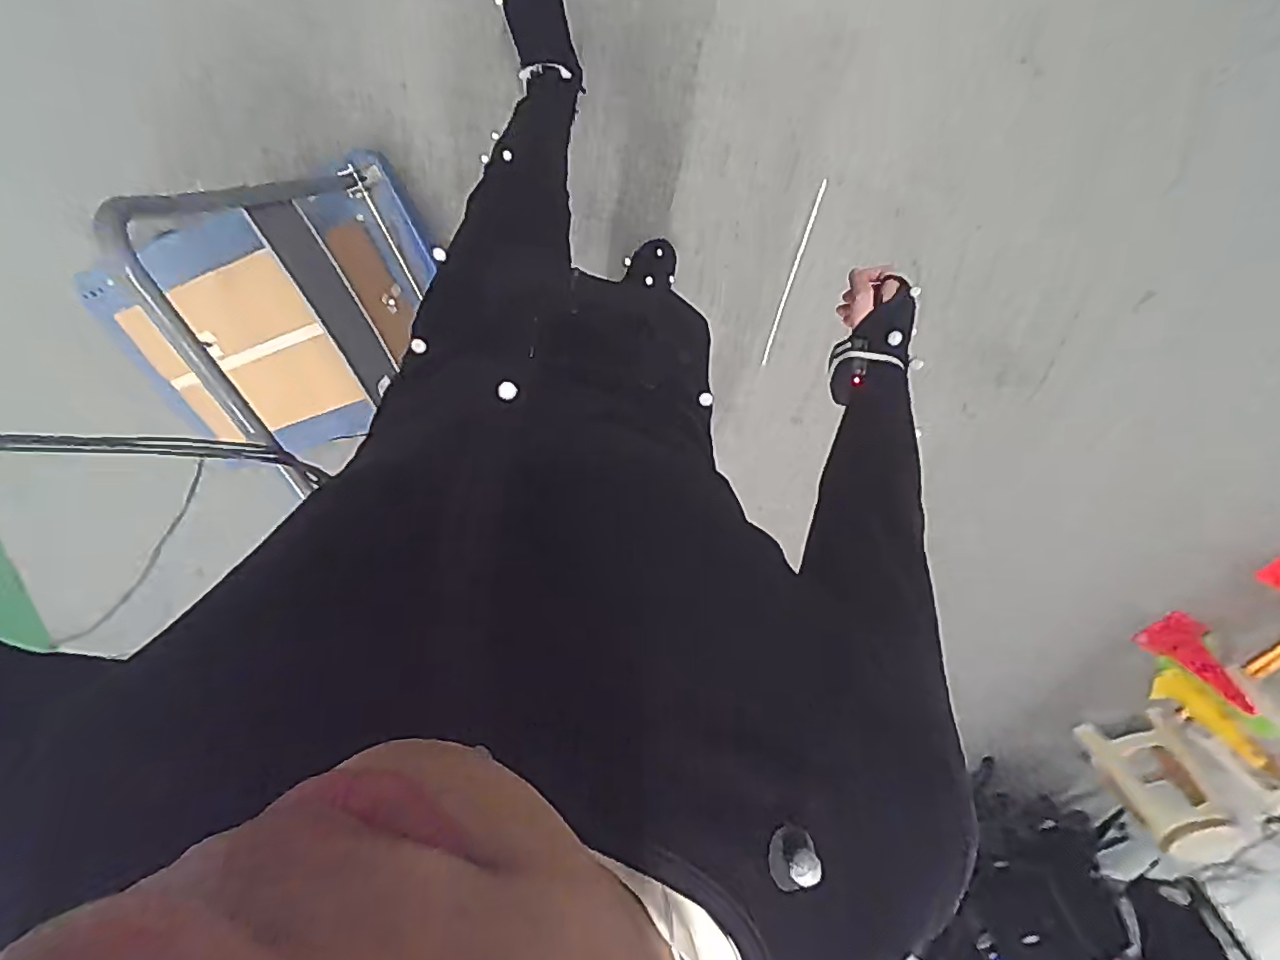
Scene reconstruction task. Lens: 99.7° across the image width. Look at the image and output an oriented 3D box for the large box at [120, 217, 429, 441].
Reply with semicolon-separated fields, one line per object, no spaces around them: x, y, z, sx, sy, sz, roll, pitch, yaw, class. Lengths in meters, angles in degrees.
-0.766;-0.339;1.202;0.408;0.320;0.320;-15;121;12;large box
